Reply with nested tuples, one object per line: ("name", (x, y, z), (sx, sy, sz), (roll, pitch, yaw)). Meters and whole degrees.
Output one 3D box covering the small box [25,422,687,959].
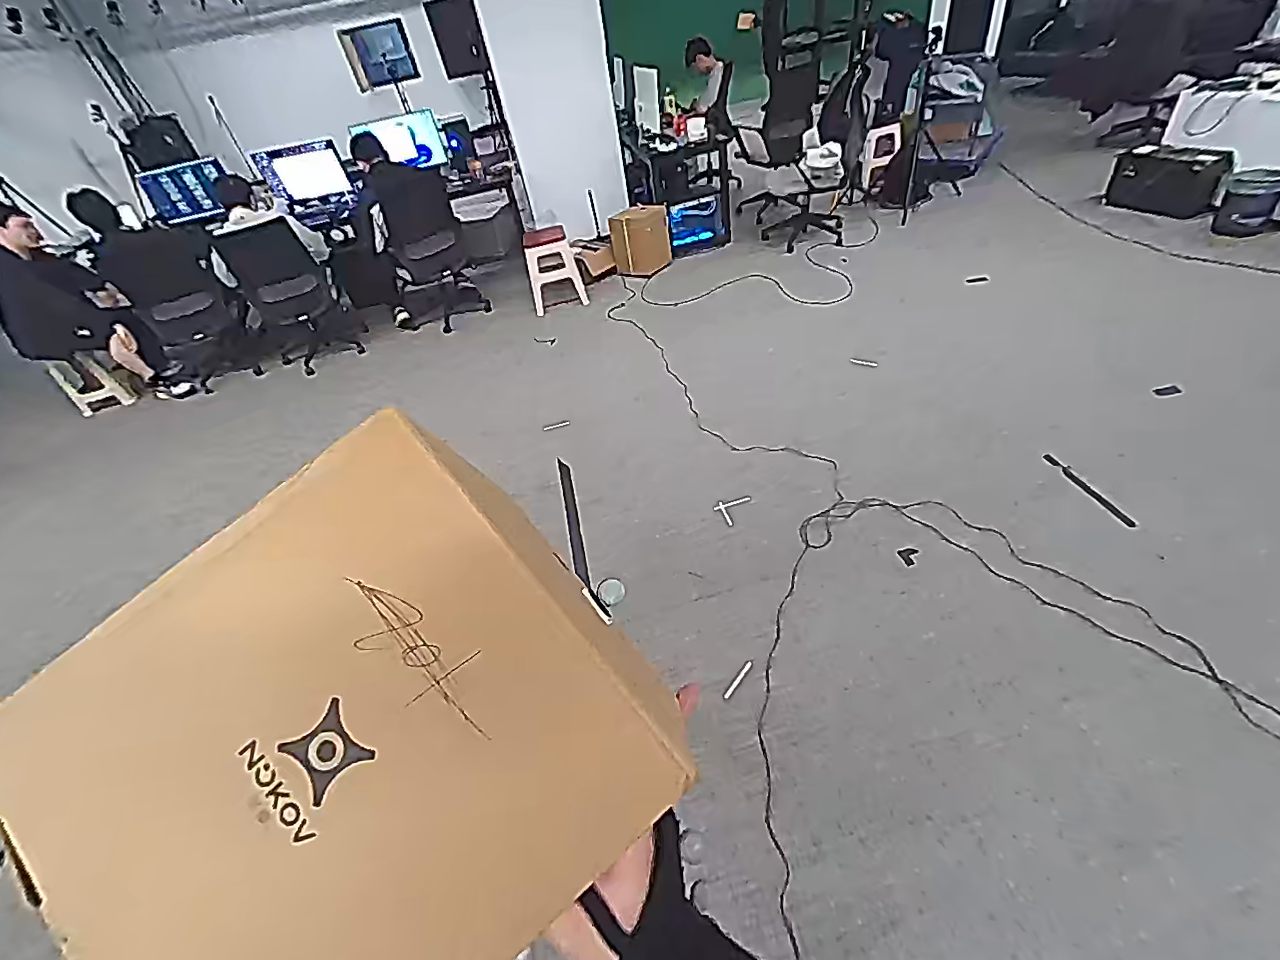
("small box", (-0.096, 0.108, 0.262), (0.179, 0.176, 0.168), (-42, 80, -8))
